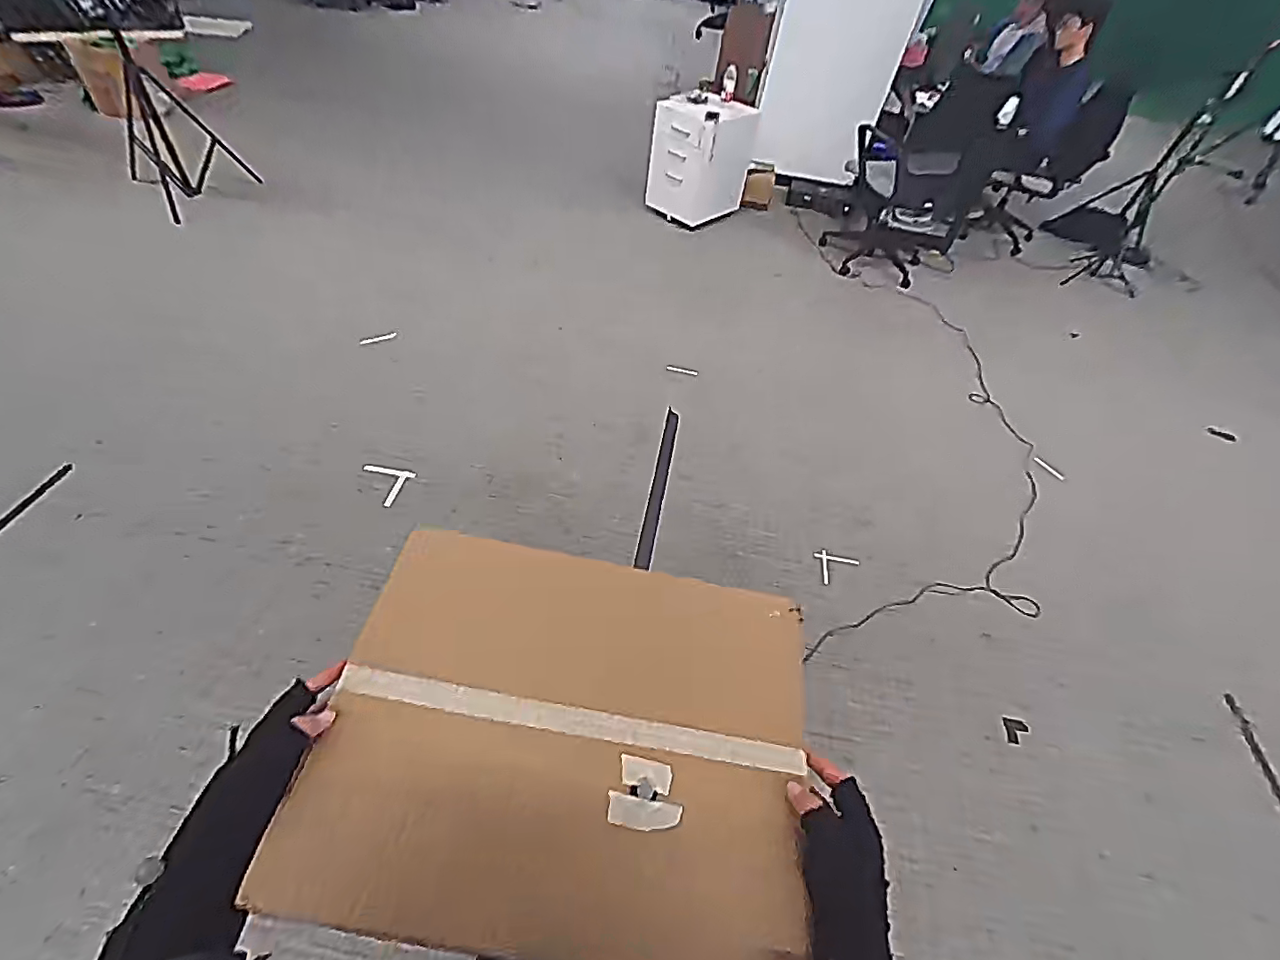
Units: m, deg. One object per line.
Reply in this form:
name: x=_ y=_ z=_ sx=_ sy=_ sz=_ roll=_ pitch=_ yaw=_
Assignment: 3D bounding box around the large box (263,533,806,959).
large box: x=-0.075 y=0.299 z=0.592 sx=0.408 sy=0.320 sz=0.320 roll=12 pitch=53 yaw=-1
